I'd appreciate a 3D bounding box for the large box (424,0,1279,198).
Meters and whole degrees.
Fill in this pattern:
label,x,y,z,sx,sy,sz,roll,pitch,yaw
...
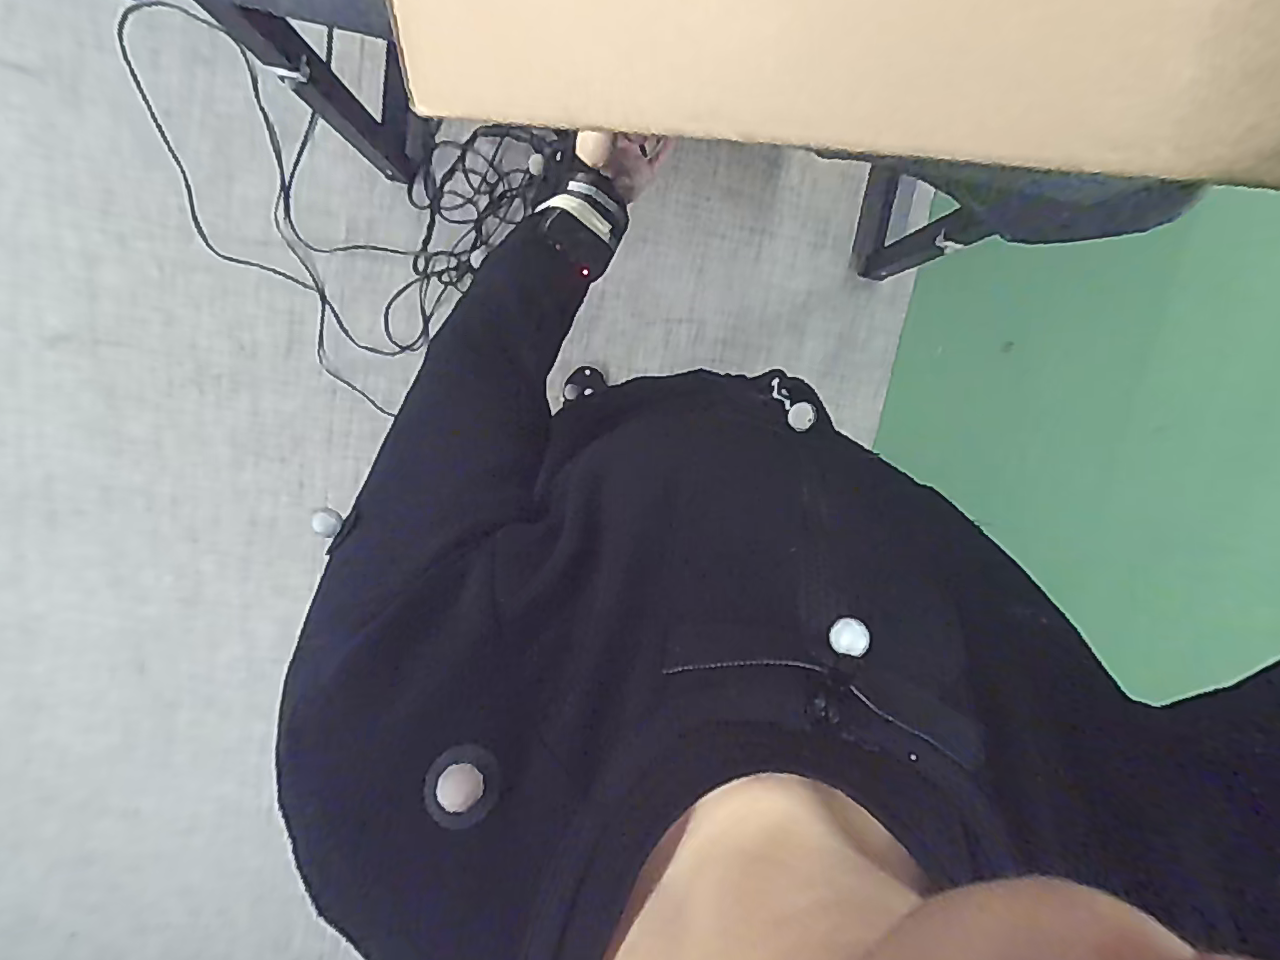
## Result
label,x,y,z,sx,sy,sz,roll,pitch,yaw
large box,0.137,-0.334,0.234,0.408,0.320,0.320,13,131,16
